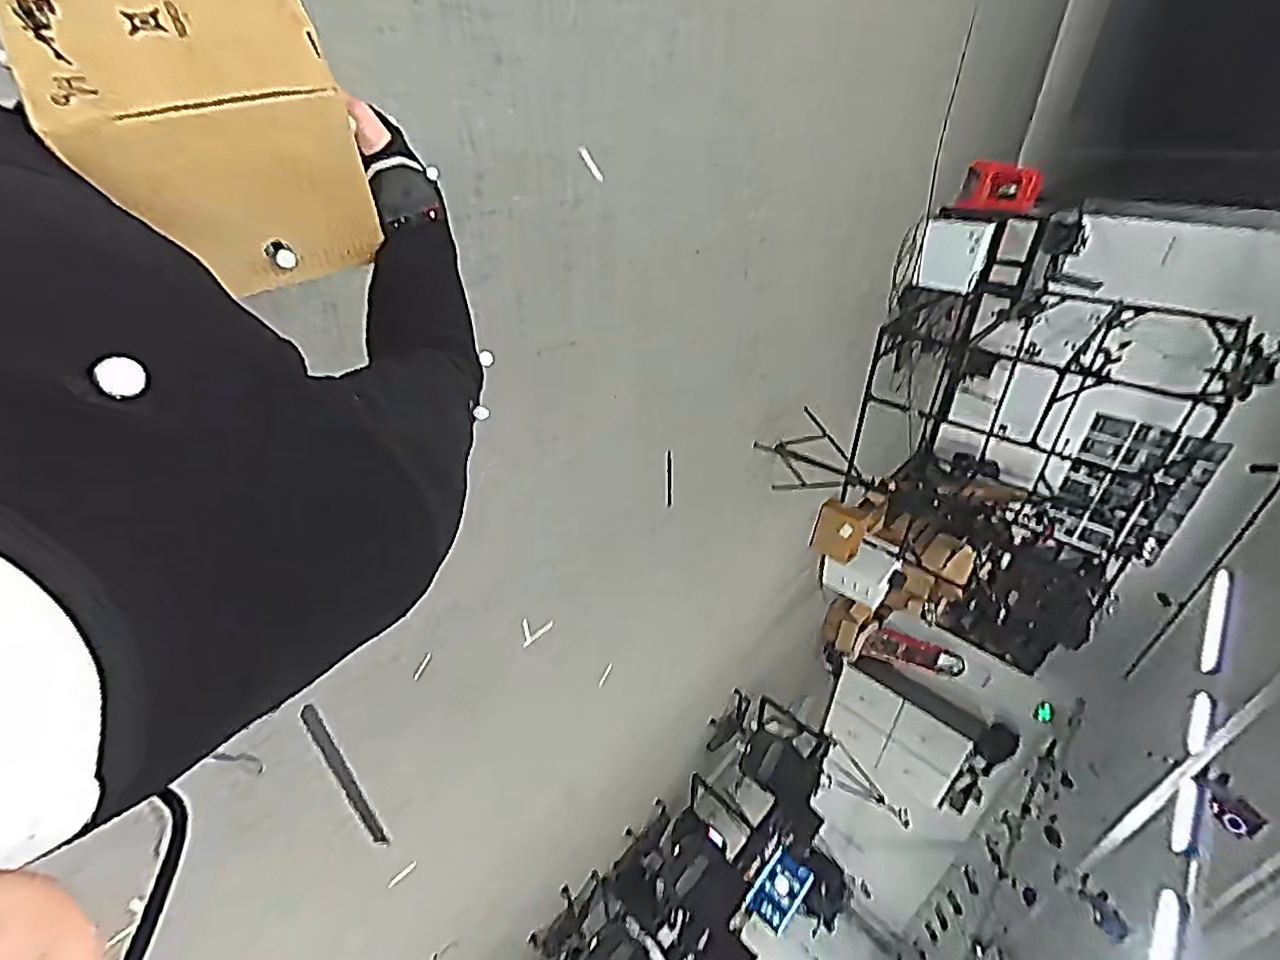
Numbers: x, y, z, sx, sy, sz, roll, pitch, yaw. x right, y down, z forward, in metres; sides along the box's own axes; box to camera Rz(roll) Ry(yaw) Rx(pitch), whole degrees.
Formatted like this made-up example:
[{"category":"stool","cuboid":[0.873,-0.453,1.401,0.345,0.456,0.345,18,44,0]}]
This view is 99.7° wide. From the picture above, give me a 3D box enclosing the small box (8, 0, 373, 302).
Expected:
[{"category":"small box","cuboid":[-0.349,-0.284,0.460,0.179,0.168,0.176,-25,166,-21]}]
